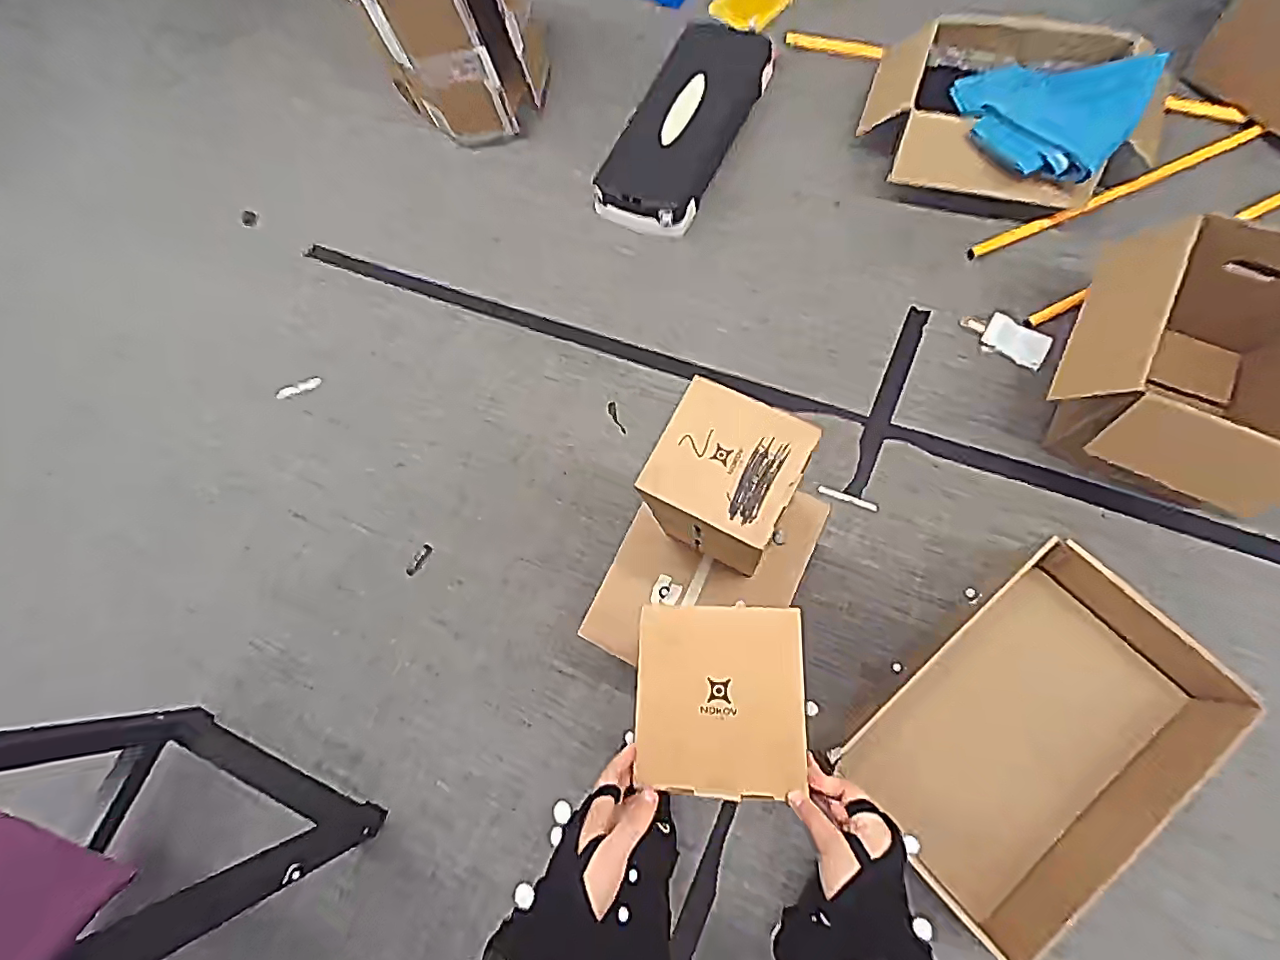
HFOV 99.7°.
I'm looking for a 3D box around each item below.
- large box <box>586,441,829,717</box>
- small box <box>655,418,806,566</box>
[{"bbox_3d":[0.140,0.193,1.095,0.320,0.320,0.408,23,80,15],"label":"large box"},{"bbox_3d":[0.146,0.029,0.882,0.179,0.176,0.168,26,81,14],"label":"small box"}]
